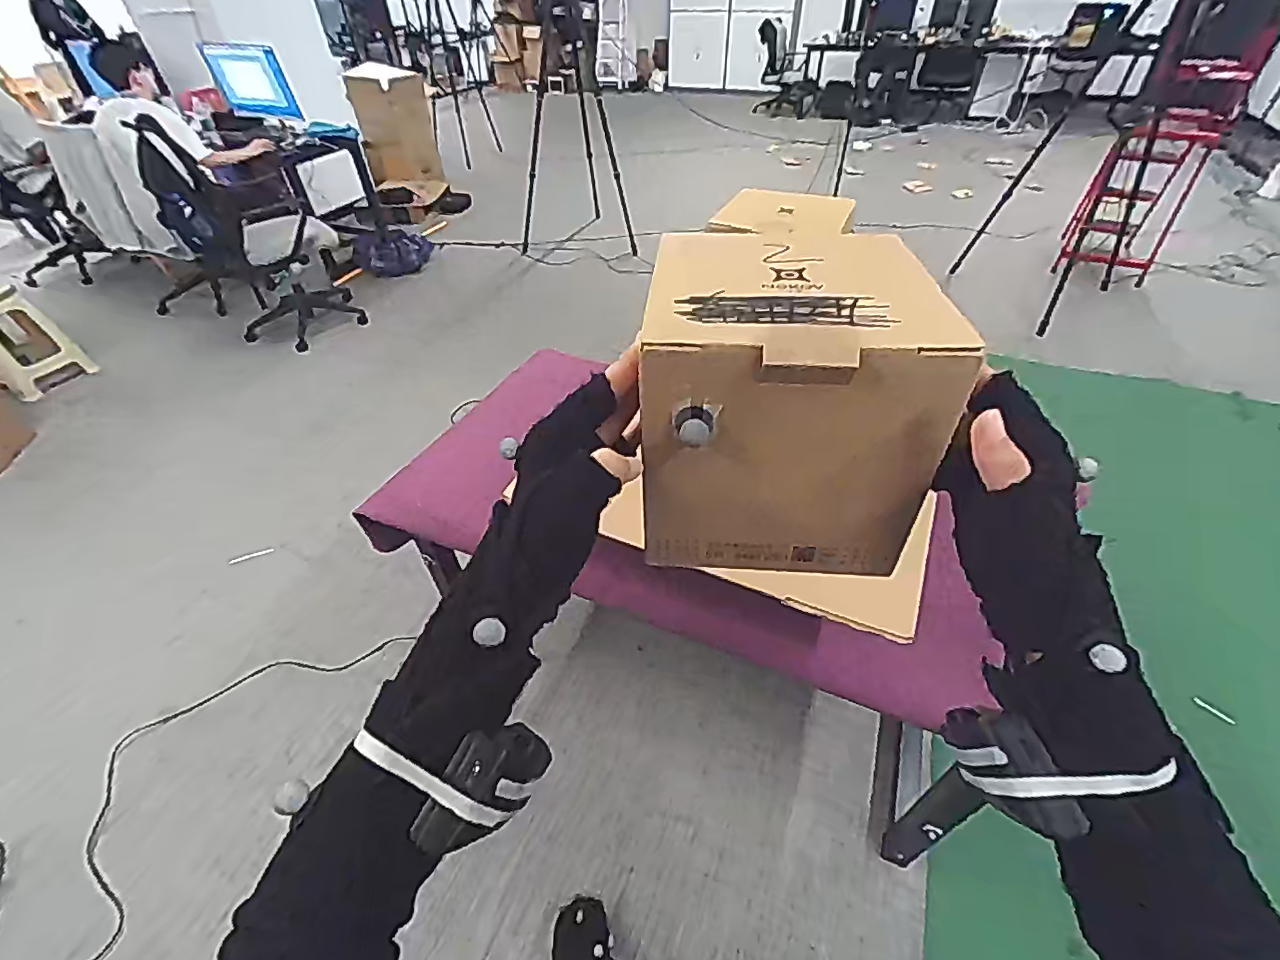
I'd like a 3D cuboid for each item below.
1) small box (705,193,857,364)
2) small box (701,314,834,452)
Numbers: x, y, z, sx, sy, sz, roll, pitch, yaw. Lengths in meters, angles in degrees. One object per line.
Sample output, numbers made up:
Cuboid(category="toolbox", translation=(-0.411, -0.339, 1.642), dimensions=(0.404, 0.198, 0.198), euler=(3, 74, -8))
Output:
Cuboid(category="small box", translation=(0.197, -0.292, 0.778), dimensions=(0.168, 0.176, 0.179), euler=(16, 46, 18))
Cuboid(category="small box", translation=(0.204, -0.176, 0.892), dimensions=(0.168, 0.176, 0.179), euler=(17, 46, 20))
